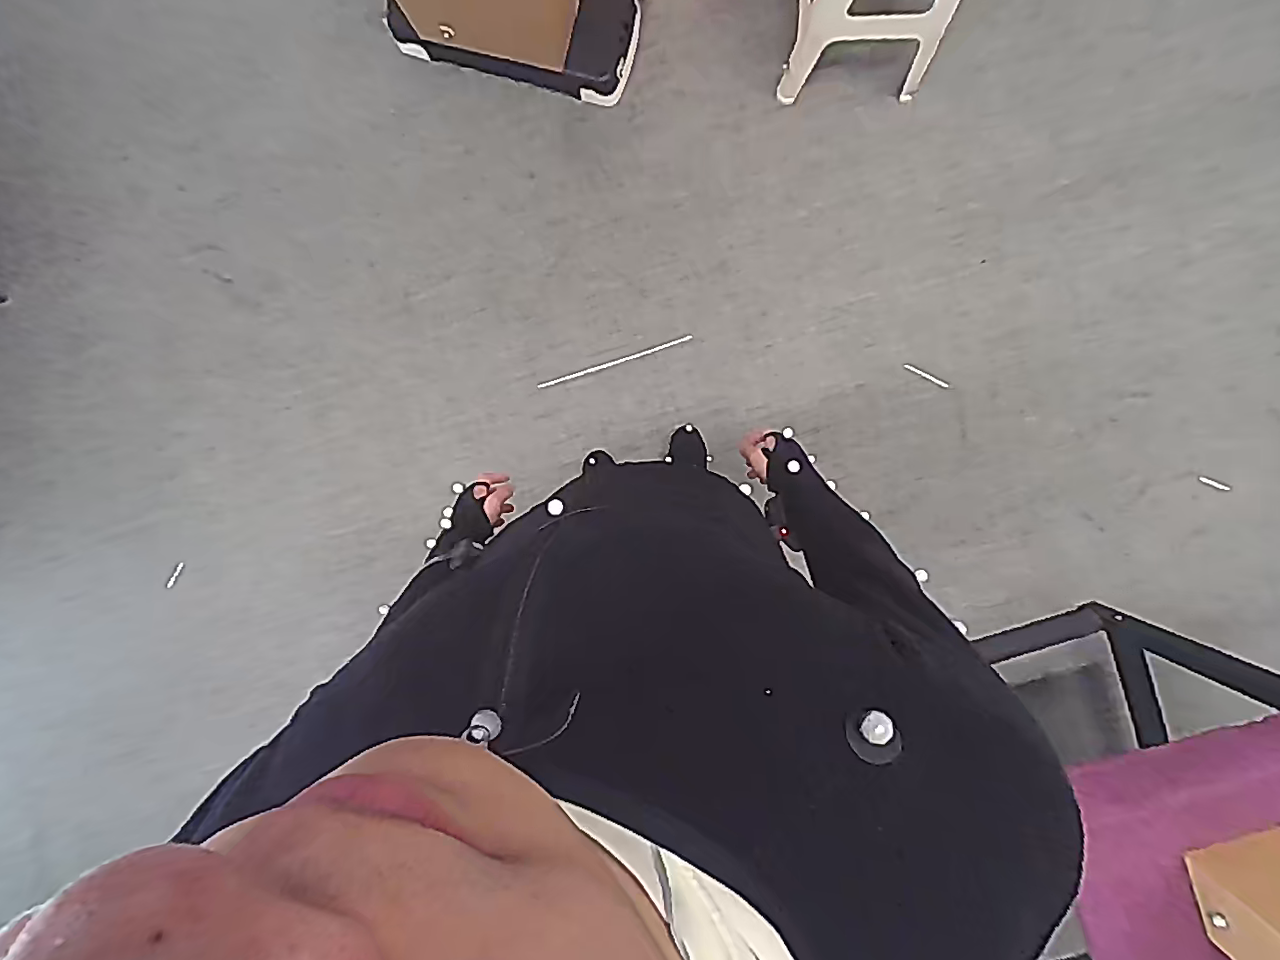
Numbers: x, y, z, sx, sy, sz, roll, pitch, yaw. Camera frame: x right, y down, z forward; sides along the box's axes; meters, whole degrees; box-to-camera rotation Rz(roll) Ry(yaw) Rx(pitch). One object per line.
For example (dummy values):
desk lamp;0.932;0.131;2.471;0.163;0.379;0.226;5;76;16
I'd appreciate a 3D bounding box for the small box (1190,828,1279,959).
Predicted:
small box;1.031;0.681;0.836;0.179;0.176;0.168;-20;93;4
